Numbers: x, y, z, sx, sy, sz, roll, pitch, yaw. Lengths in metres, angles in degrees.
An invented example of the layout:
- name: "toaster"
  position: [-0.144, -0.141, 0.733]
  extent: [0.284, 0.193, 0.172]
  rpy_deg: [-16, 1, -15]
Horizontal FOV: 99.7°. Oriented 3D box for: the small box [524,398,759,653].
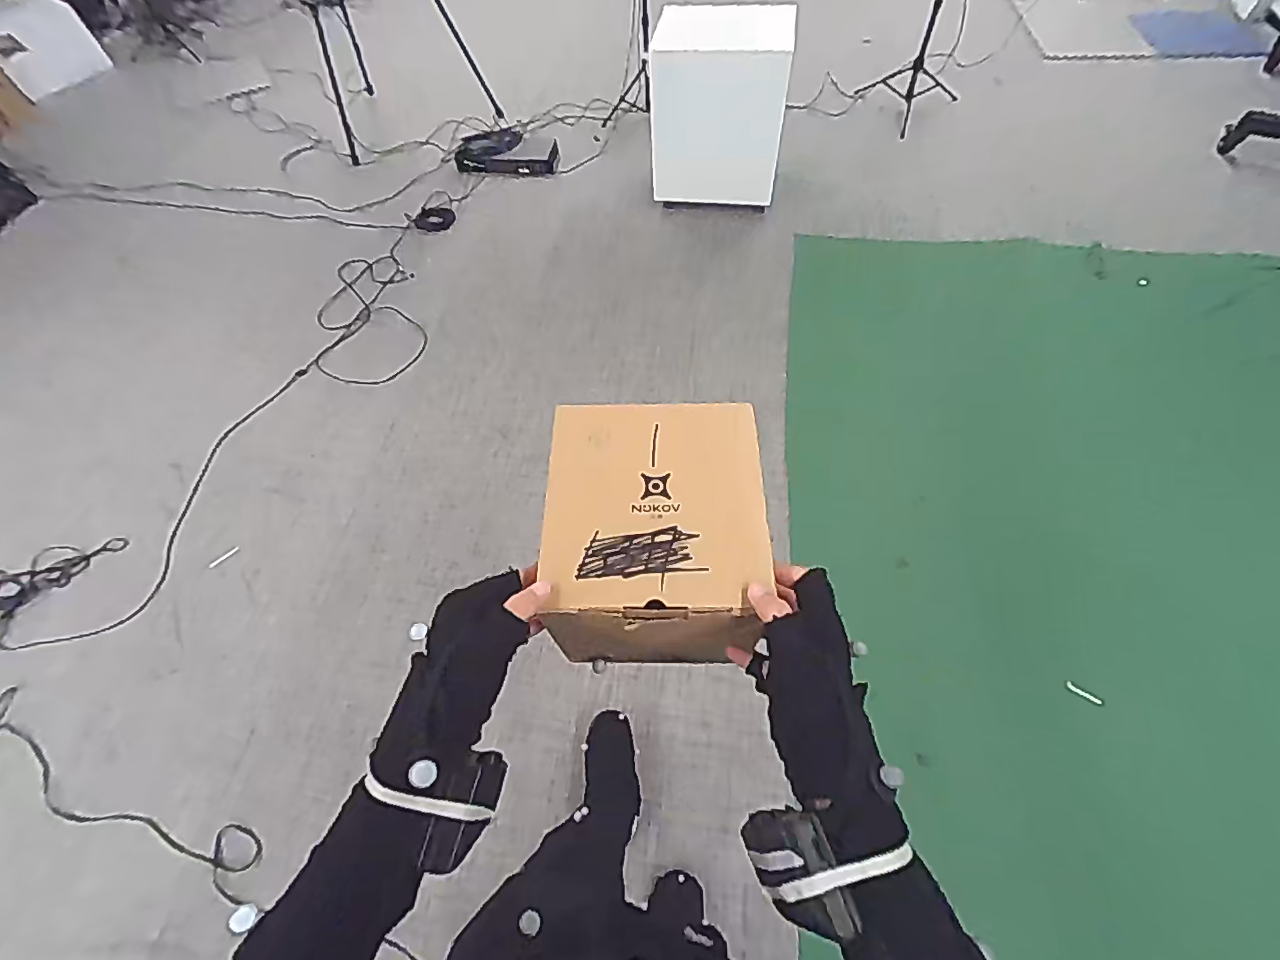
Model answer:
- name: "small box"
  position: [0.006, 0.048, 0.476]
  extent: [0.168, 0.176, 0.179]
  rpy_deg: [0, 59, 2]
